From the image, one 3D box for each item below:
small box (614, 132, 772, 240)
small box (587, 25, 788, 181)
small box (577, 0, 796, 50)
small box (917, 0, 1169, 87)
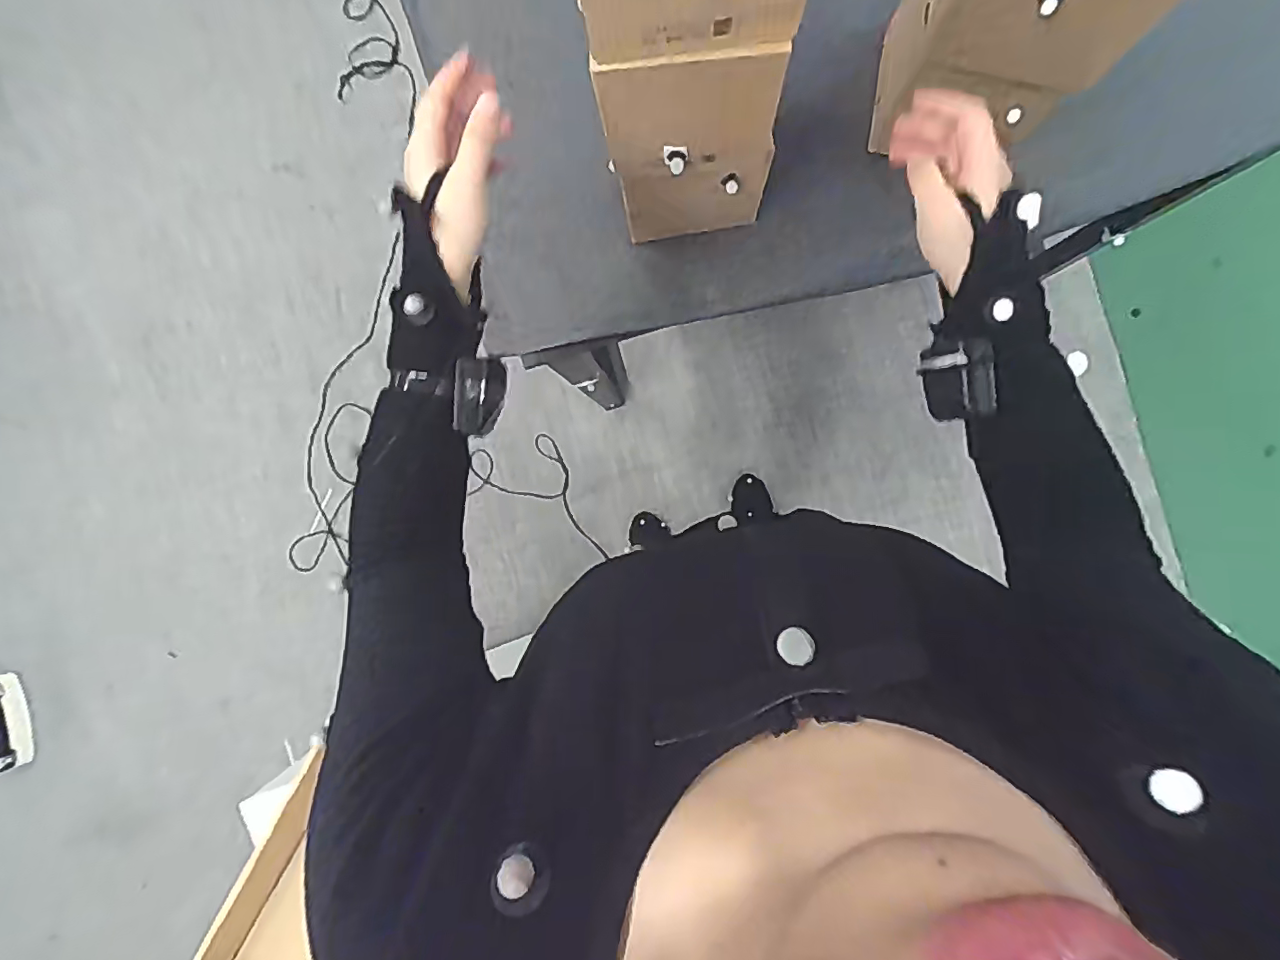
[{"bbox_3d":[0.056,-0.428,0.680,0.179,0.176,0.168,-8,89,5],"label":"small box"},{"bbox_3d":[0.043,-0.423,0.518,0.168,0.176,0.179,-2,91,6],"label":"small box"},{"bbox_3d":[0.027,-0.427,0.355,0.168,0.176,0.179,-3,91,6],"label":"small box"},{"bbox_3d":[0.389,-0.501,0.485,0.179,0.176,0.168,16,91,5],"label":"small box"}]
